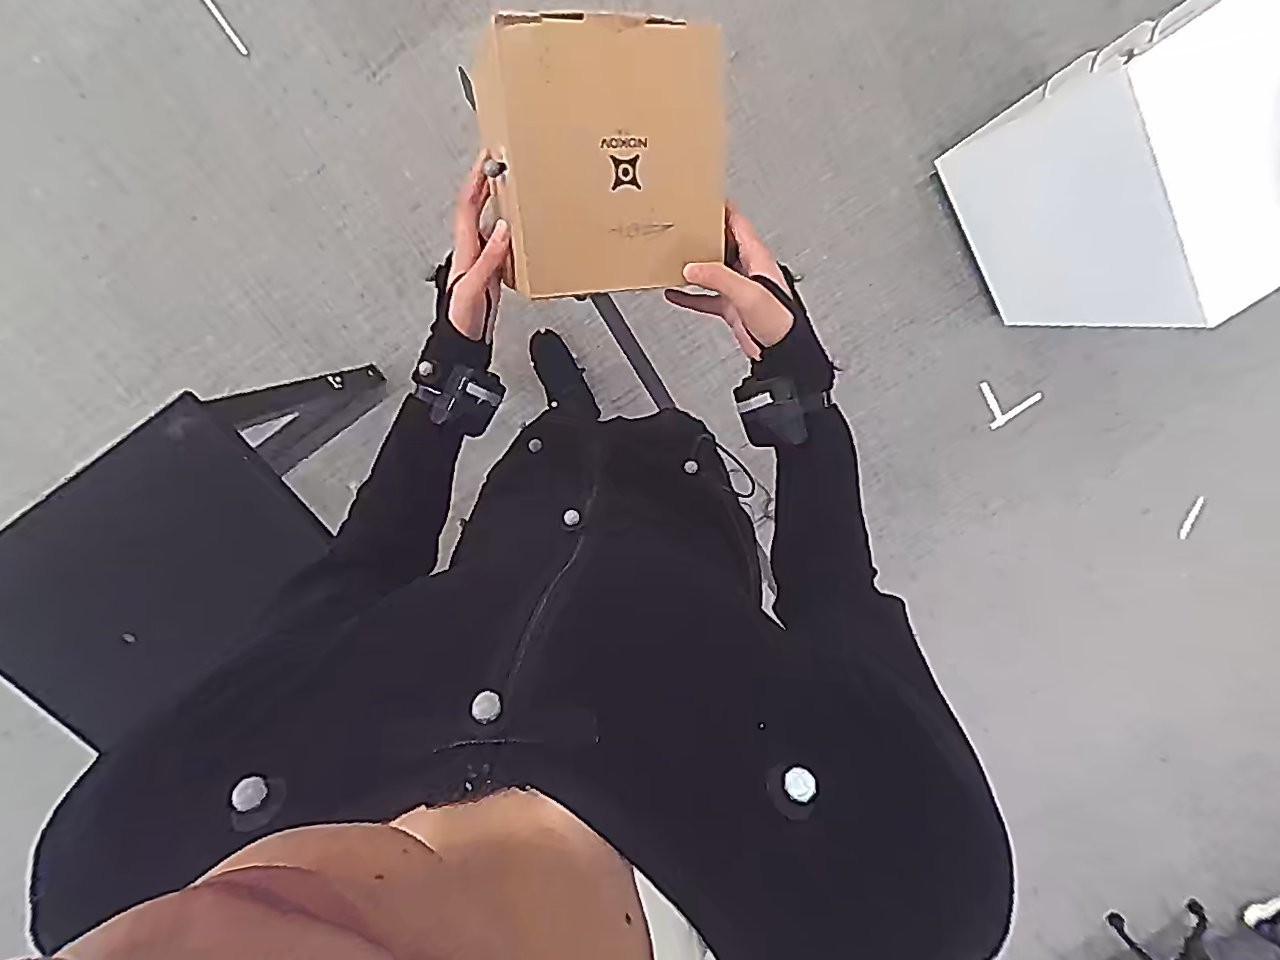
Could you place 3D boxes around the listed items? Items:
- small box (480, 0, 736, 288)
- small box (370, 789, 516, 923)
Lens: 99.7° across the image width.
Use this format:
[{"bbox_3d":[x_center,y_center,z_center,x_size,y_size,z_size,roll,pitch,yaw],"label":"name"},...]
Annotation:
[{"bbox_3d":[-0.034,-0.263,0.454,0.168,0.176,0.179,-10,116,-17],"label":"small box"},{"bbox_3d":[-0.344,0.714,0.988,0.179,0.176,0.168,-35,105,6],"label":"small box"}]
